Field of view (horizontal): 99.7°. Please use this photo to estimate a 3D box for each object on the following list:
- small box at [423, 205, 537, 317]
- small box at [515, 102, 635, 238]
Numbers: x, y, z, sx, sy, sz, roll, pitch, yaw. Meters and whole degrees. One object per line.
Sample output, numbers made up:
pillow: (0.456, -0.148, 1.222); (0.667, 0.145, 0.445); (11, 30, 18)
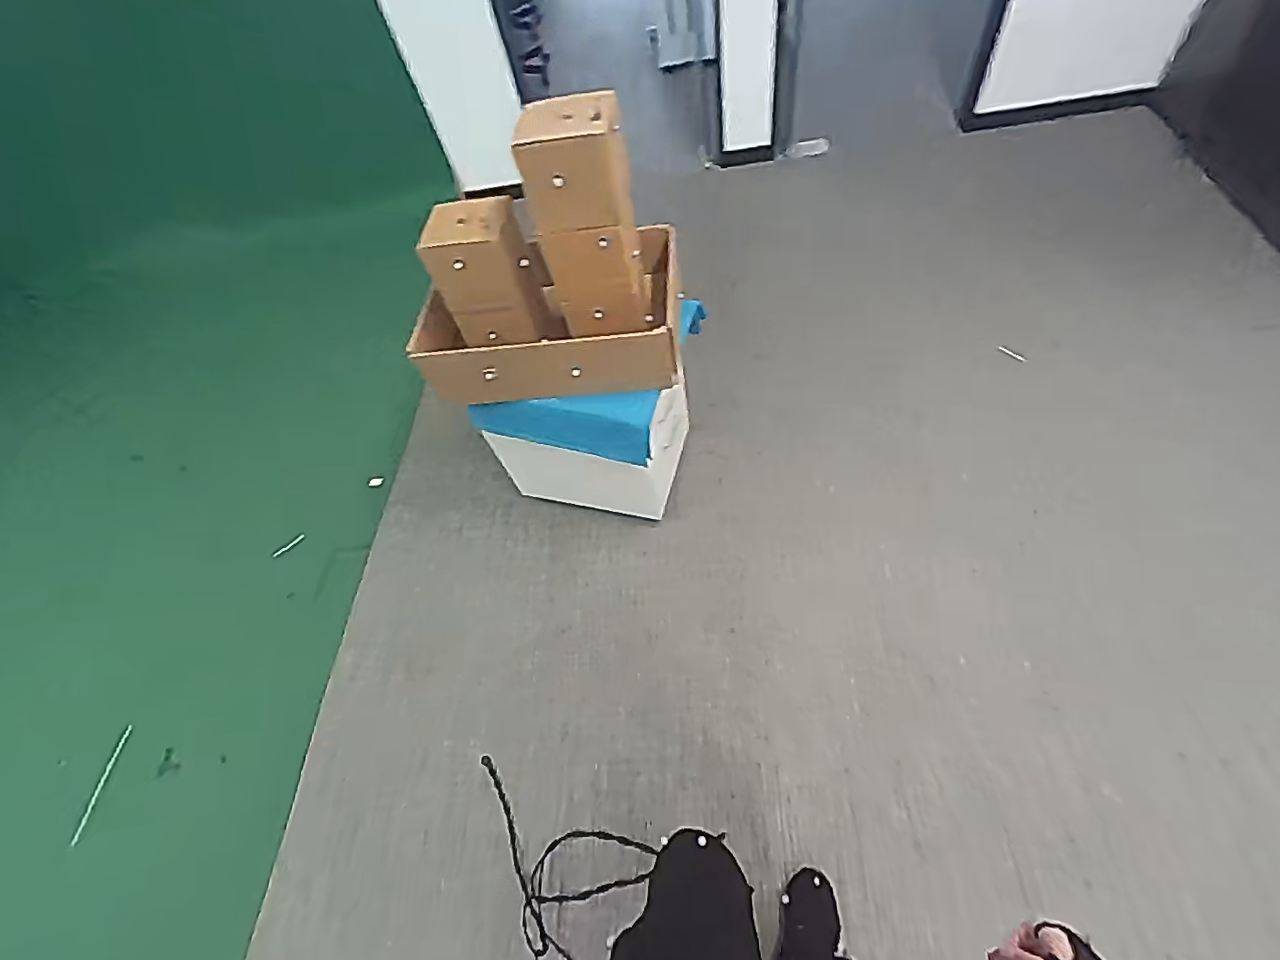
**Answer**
small box: (-0.350, -0.486, 1.216); (0.179, 0.176, 0.168); (-2, 56, 8)
small box: (-0.116, -0.592, 1.046); (0.179, 0.176, 0.168); (-2, 56, 11)
